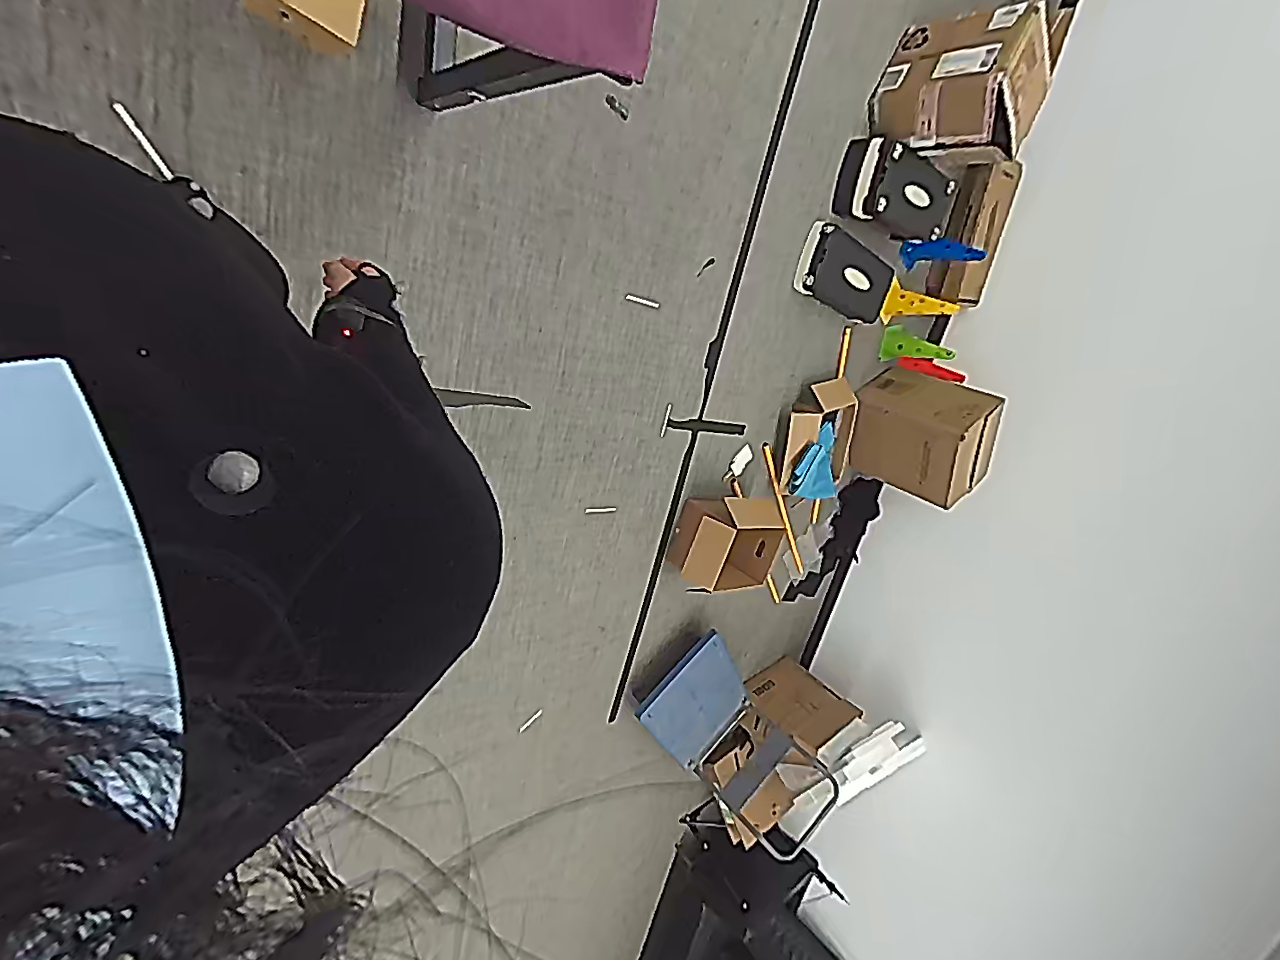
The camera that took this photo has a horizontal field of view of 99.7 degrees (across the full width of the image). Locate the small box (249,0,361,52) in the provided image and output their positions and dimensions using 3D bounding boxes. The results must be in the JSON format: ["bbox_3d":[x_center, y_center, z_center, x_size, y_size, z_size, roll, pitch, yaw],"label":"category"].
[{"bbox_3d":[-0.618,-0.939,0.996,0.168,0.176,0.179,9,105,-45],"label":"small box"}]
